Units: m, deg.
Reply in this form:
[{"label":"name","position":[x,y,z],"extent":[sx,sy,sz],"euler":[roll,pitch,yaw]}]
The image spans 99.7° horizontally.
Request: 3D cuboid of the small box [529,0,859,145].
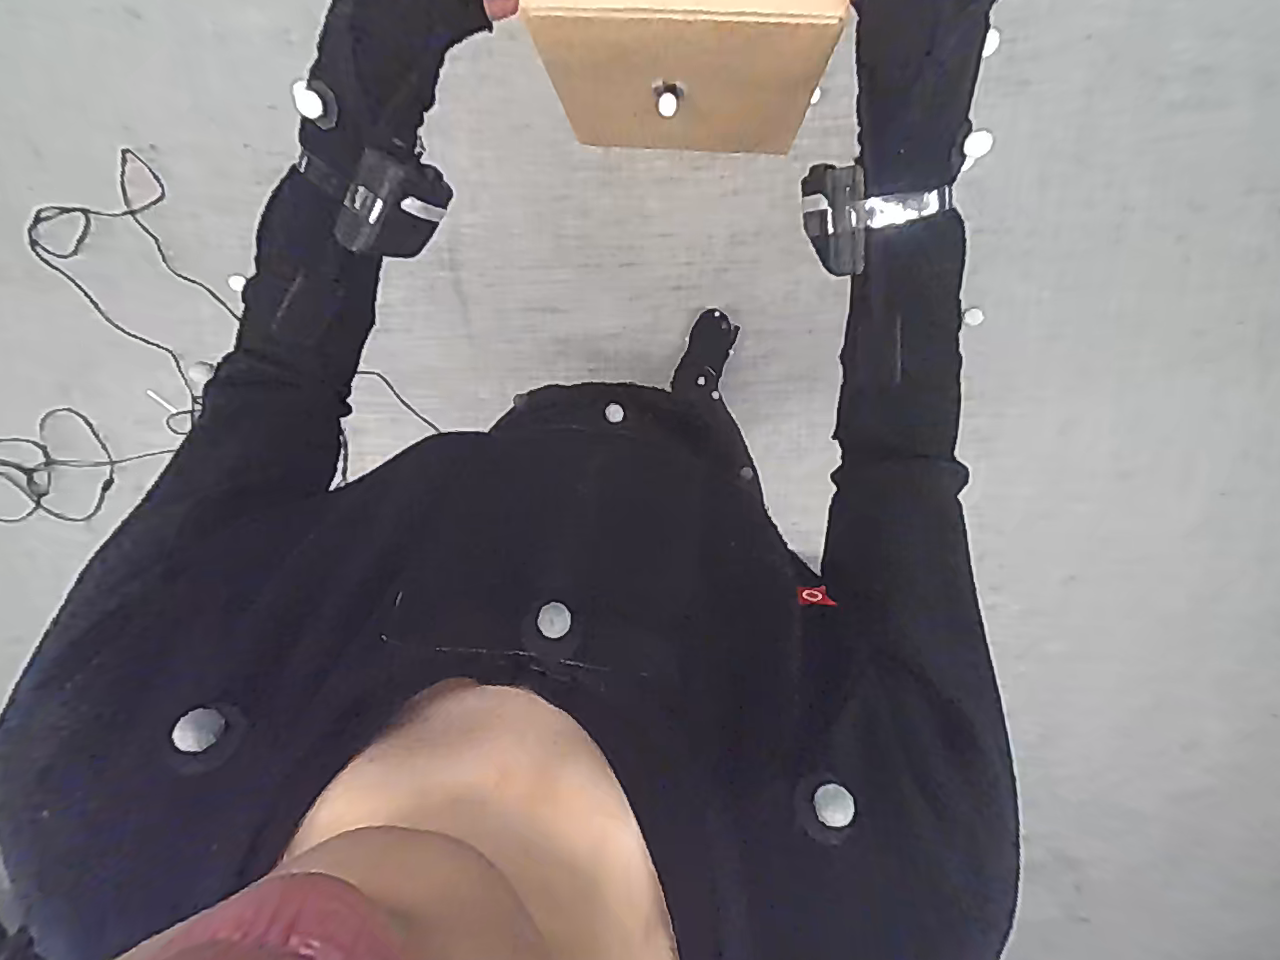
[{"label":"small box","position":[0.039,-0.340,0.348],"extent":[0.179,0.176,0.168],"euler":[5,100,4]}]
